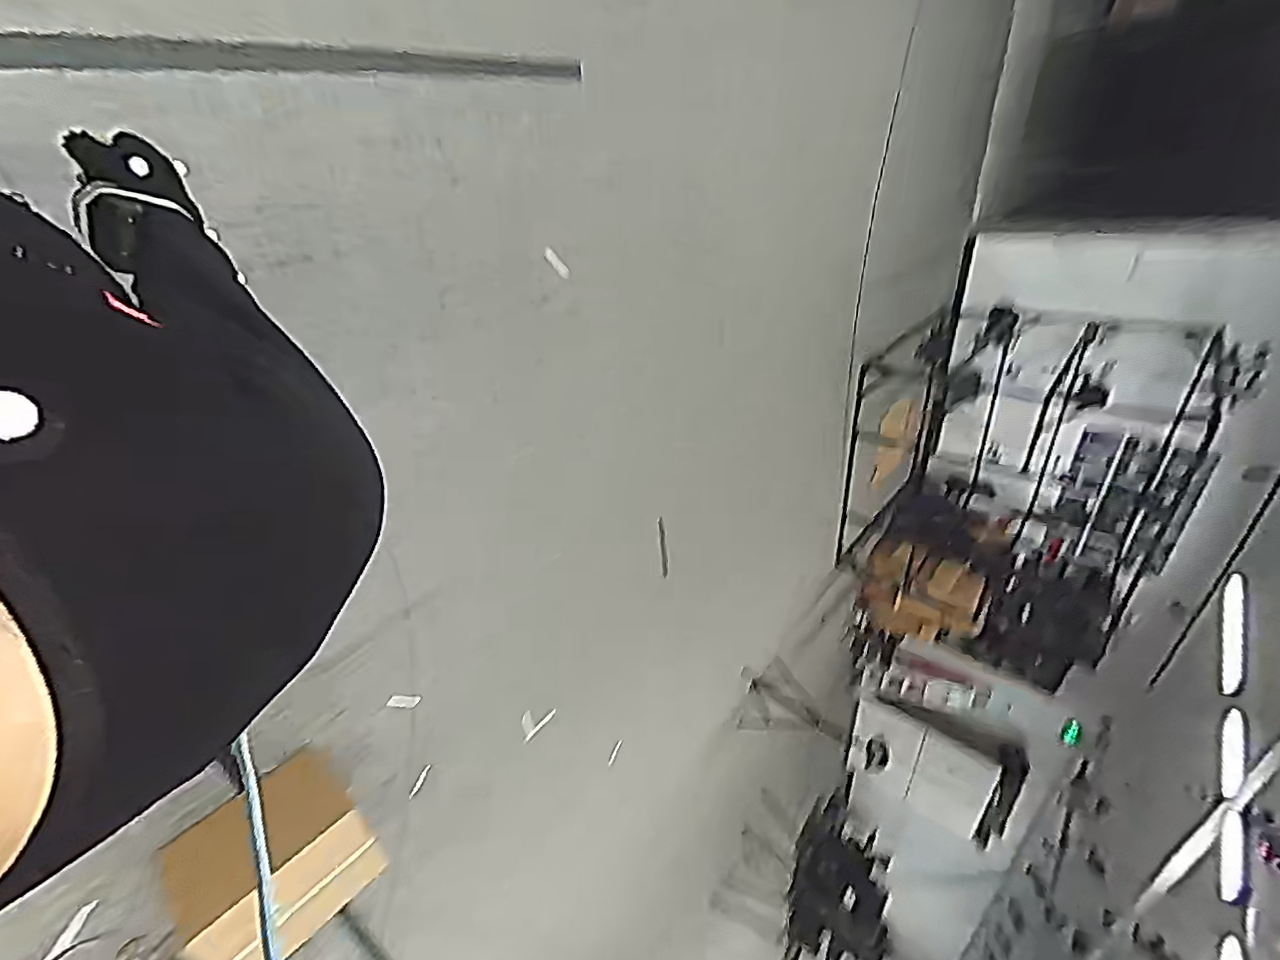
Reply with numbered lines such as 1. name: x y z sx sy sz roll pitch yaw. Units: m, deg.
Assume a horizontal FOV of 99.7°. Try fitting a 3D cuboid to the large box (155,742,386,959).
1. large box: -1.009 1.044 1.509 0.408 0.320 0.320 -33 130 -38
